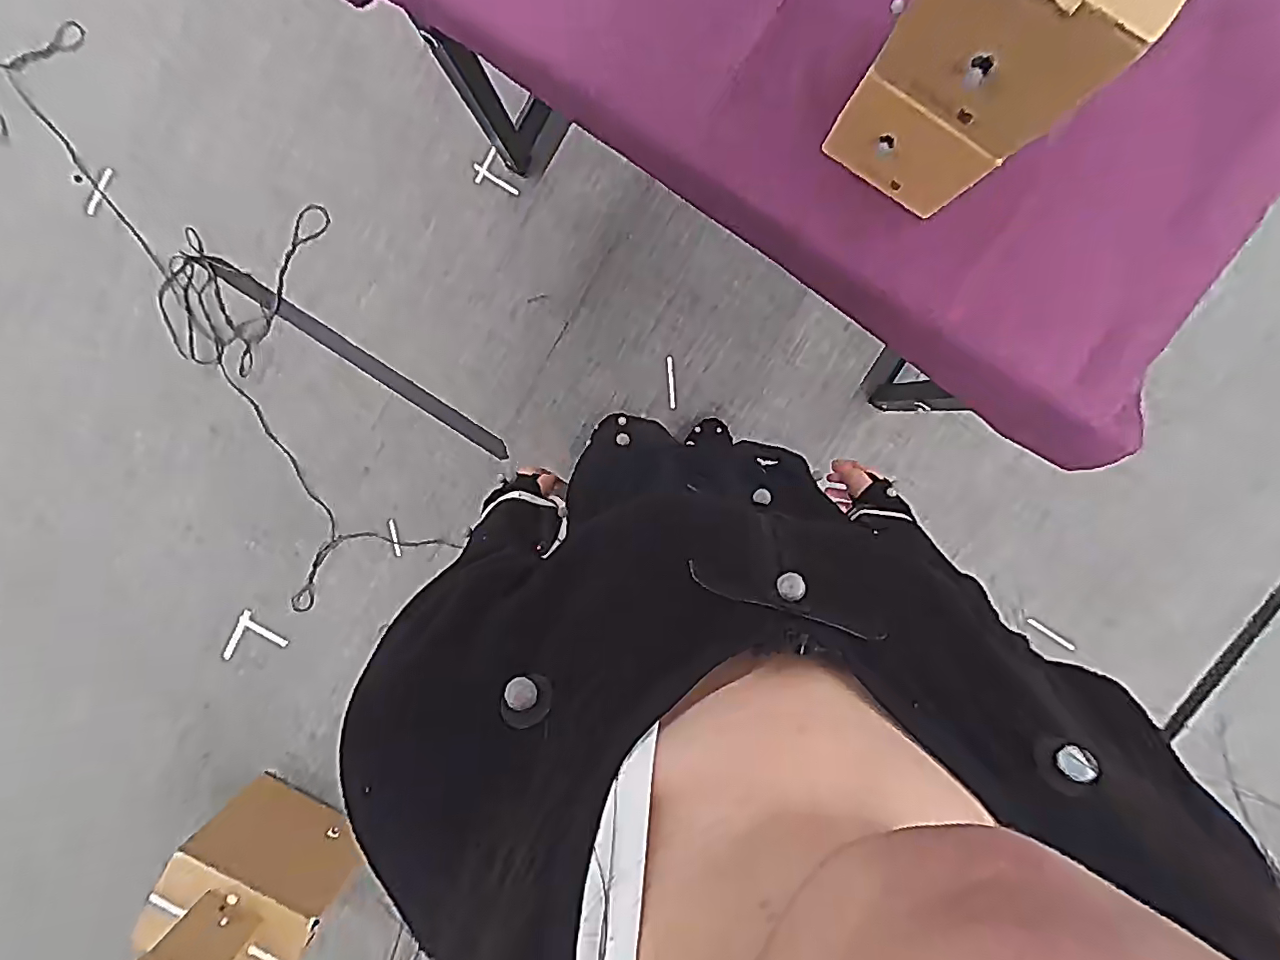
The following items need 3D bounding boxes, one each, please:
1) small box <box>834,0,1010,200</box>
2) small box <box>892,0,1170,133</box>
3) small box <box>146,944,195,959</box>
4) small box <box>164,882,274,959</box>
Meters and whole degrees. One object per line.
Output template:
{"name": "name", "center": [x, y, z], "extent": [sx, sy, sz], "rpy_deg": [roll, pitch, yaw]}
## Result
{"name": "small box", "center": [0.344, -0.457, 0.608], "extent": [0.168, 0.176, 0.179], "rpy_deg": [32, 97, -2]}
{"name": "small box", "center": [0.340, -0.438, 0.445], "extent": [0.168, 0.176, 0.179], "rpy_deg": [33, 98, -2]}
{"name": "small box", "center": [-1.062, 1.172, 1.168], "extent": [0.168, 0.176, 0.179], "rpy_deg": [27, 99, -1]}
{"name": "small box", "center": [-1.053, 1.157, 1.330], "extent": [0.168, 0.176, 0.179], "rpy_deg": [29, 97, -2]}
